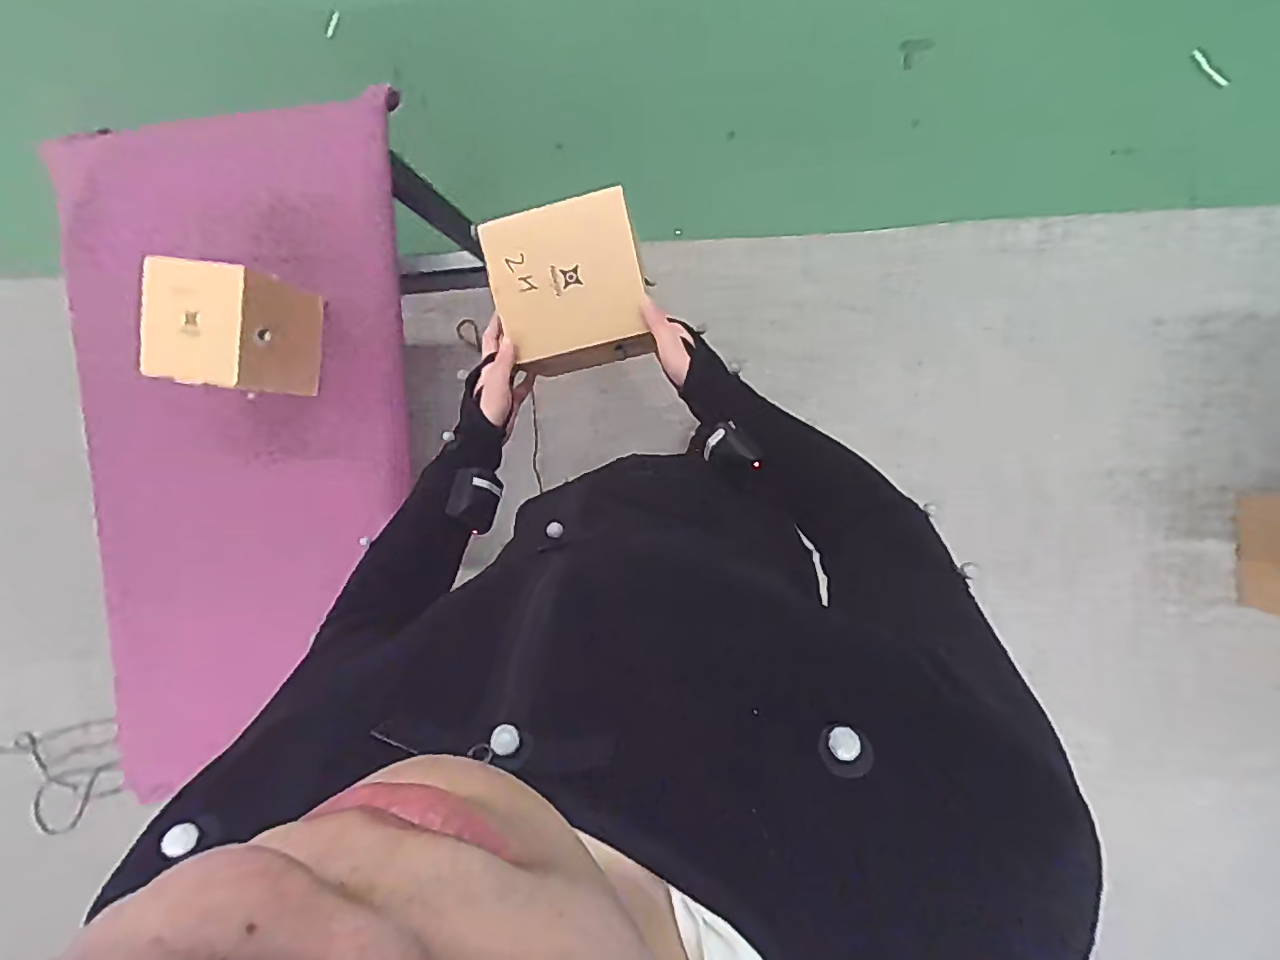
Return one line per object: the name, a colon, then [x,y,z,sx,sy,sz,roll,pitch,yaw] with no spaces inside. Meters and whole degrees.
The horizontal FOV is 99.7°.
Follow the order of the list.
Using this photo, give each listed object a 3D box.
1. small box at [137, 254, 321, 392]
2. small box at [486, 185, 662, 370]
small box: [-0.642,-0.238,0.861,0.168,0.176,0.179,9,96,6]
small box: [-0.069,-0.242,0.691,0.179,0.176,0.168,-11,96,7]
